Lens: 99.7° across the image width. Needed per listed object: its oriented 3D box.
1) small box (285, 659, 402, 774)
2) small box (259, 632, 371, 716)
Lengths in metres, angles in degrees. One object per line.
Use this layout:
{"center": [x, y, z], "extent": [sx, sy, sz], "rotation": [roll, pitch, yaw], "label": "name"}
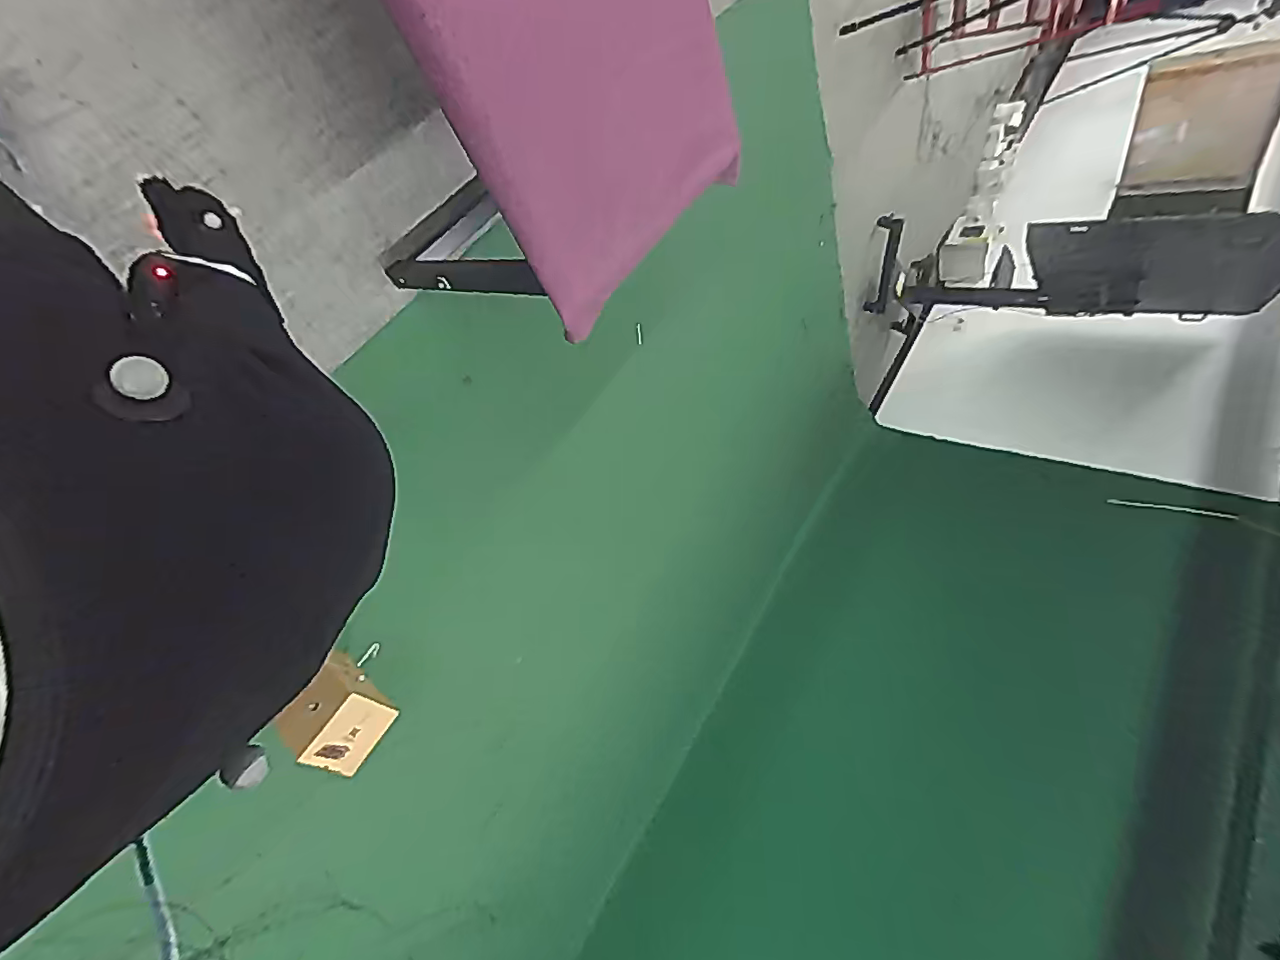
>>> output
{"center": [-0.746, 0.586, 1.349], "extent": [0.179, 0.176, 0.168], "rotation": [-51, 140, -22], "label": "small box"}
{"center": [-0.869, 0.536, 1.451], "extent": [0.168, 0.176, 0.179], "rotation": [-54, 139, -21], "label": "small box"}
